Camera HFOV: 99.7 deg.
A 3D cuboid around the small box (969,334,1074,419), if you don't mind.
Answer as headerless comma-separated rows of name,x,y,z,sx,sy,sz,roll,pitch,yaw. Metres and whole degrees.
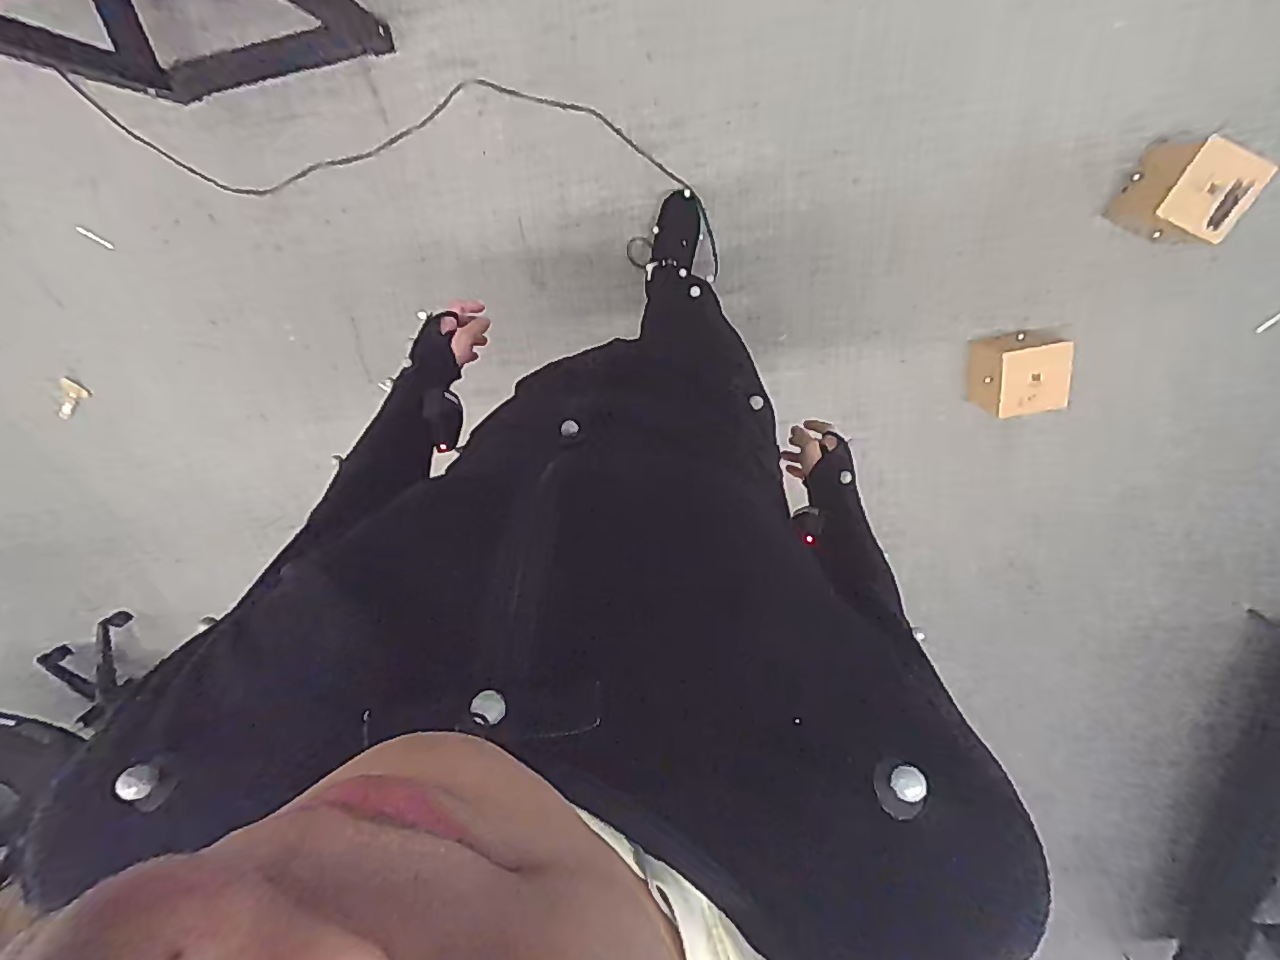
small box,0.994,-0.279,1.422,0.168,0.176,0.179,-9,113,8
